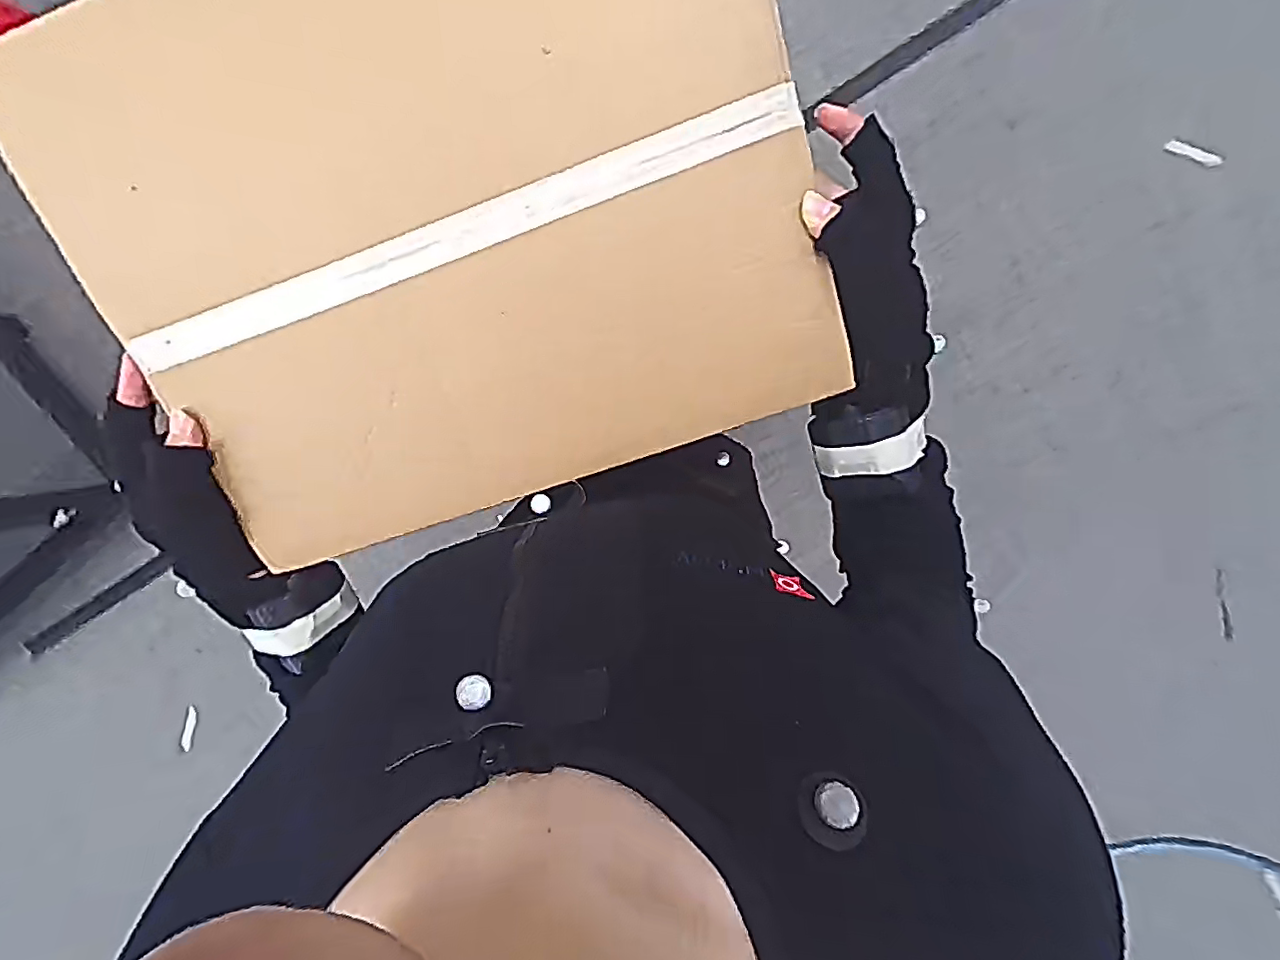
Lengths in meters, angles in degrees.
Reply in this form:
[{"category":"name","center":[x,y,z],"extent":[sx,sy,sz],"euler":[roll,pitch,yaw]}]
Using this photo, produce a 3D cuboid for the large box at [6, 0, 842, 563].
[{"category":"large box","center":[-0.105,-0.186,0.454],"extent":[0.408,0.320,0.320],"euler":[-17,108,6]}]
